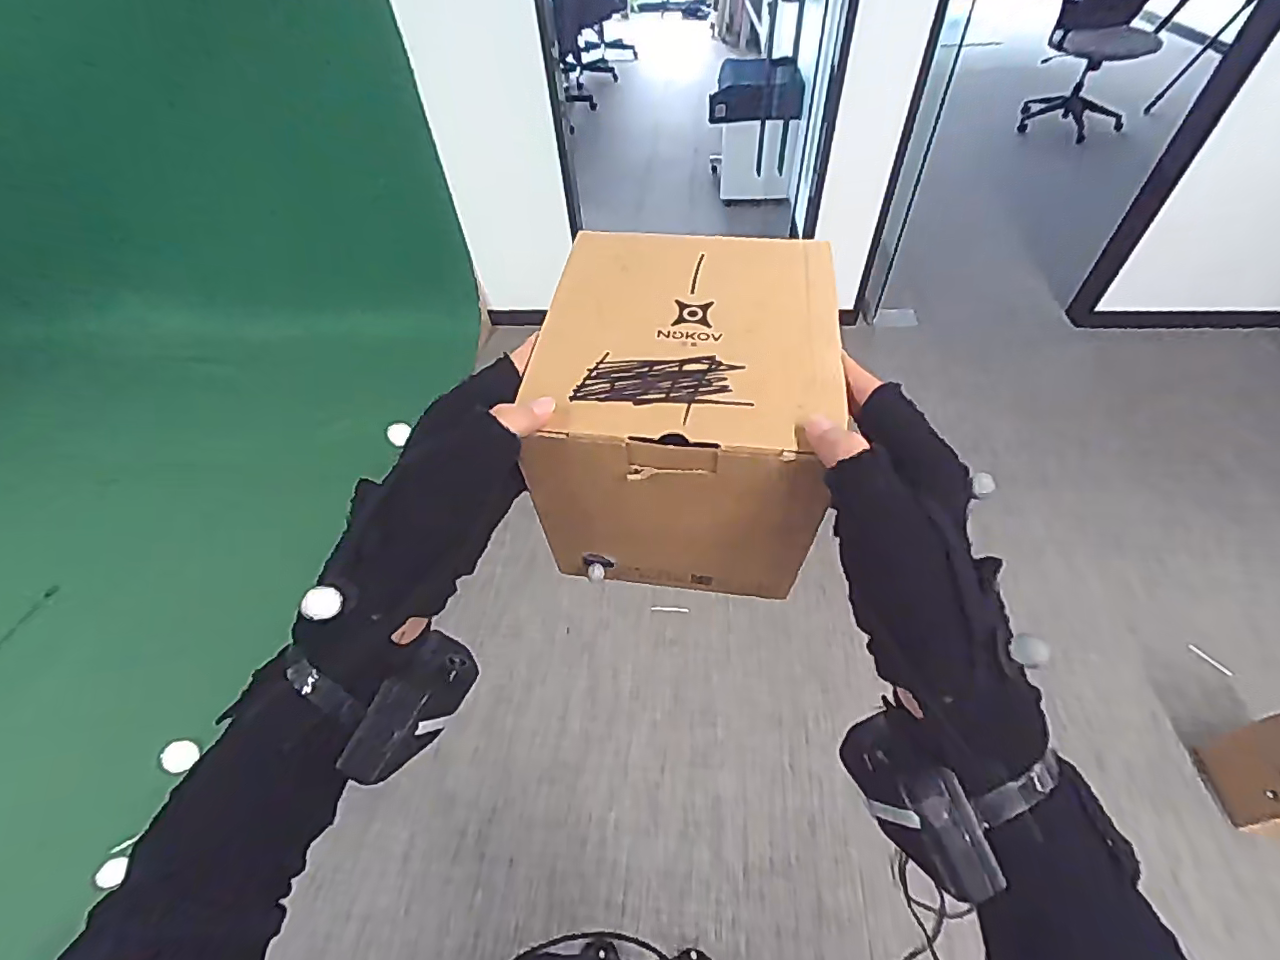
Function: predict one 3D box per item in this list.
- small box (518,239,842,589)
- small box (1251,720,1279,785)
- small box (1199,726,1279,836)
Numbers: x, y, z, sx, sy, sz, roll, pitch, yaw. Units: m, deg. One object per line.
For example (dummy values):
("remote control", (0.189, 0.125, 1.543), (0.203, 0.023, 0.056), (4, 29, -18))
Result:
("small box", (0.034, -0.041, 0.376), (0.168, 0.176, 0.179), (6, 55, 7))
("small box", (1.376, 0.546, 1.039), (0.179, 0.176, 0.168), (3, 50, 5))
("small box", (1.386, 0.653, 1.163), (0.168, 0.176, 0.179), (2, 50, 6))
